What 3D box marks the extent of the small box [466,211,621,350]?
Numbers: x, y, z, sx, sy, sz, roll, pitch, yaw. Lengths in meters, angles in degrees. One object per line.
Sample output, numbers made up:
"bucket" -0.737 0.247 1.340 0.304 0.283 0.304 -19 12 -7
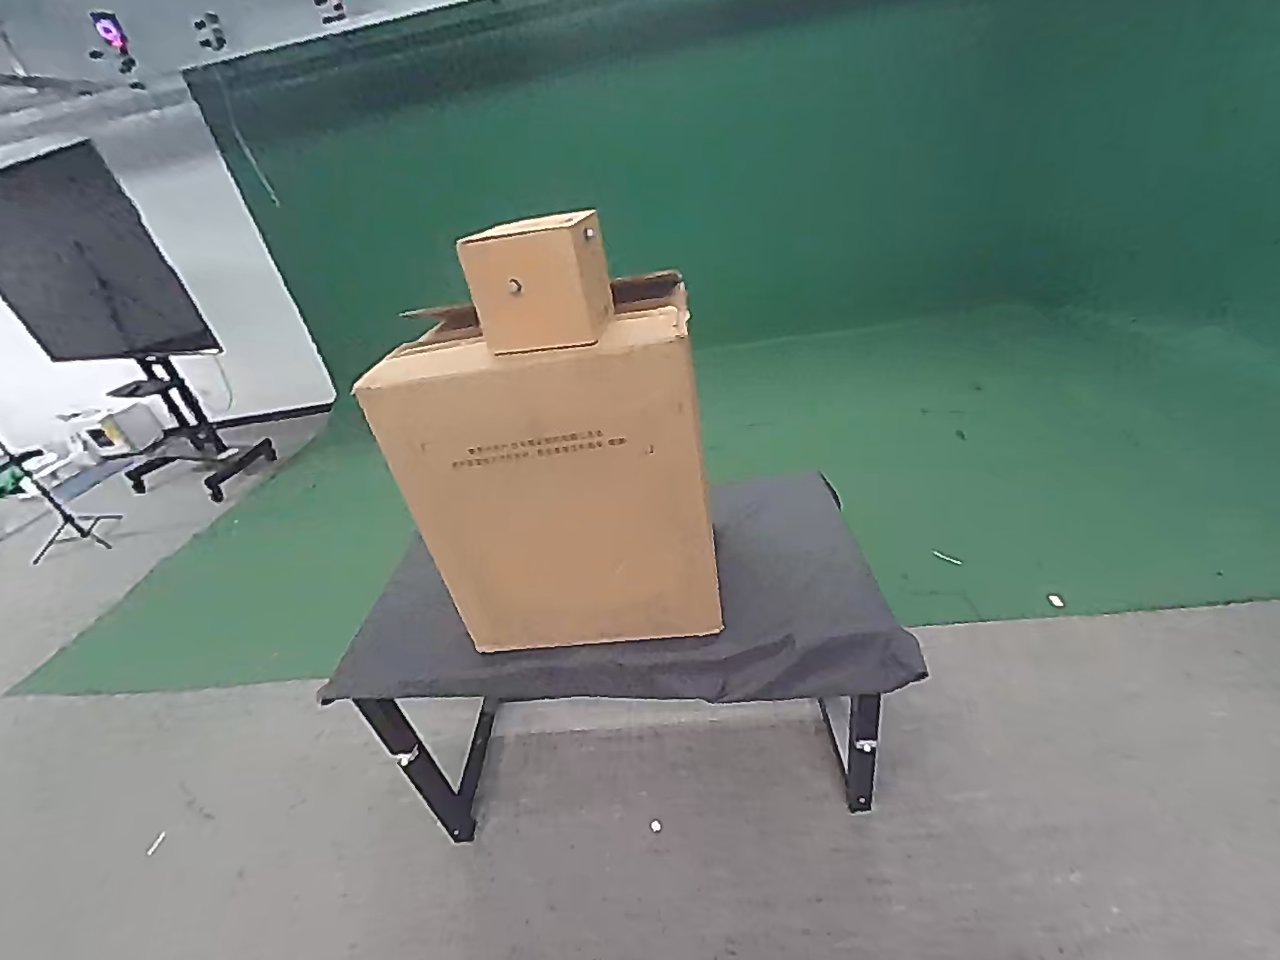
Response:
"small box" -0.142 -0.316 0.865 0.179 0.176 0.168 -3 33 13
